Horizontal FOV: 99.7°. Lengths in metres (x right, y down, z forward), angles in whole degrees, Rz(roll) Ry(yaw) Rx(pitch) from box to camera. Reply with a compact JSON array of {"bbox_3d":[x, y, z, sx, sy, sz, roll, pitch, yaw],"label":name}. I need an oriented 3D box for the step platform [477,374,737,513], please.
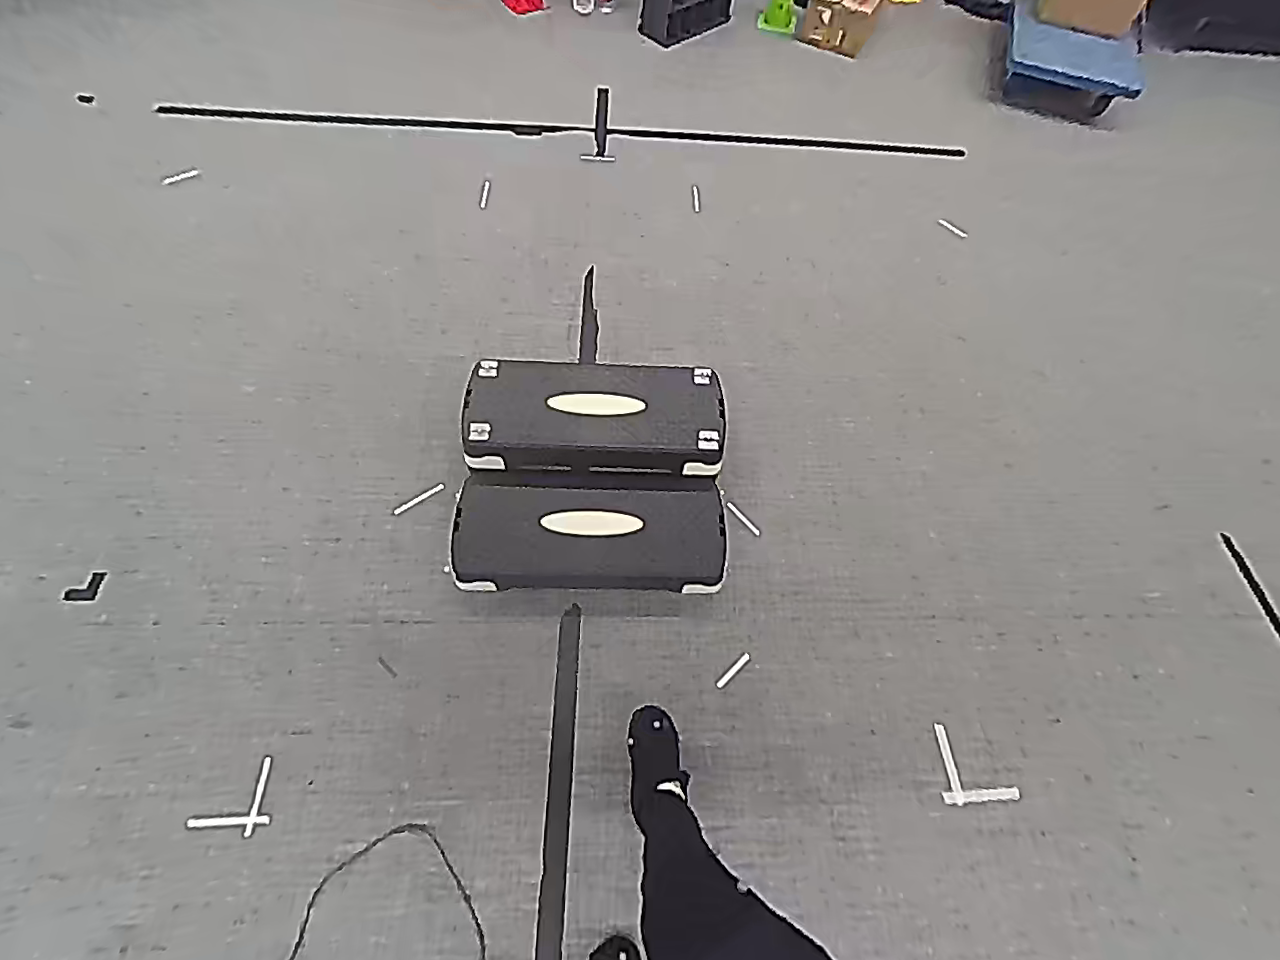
[{"bbox_3d":[-0.084,-0.101,1.463,0.684,0.204,0.286,5,60,-2],"label":"step platform"}]
